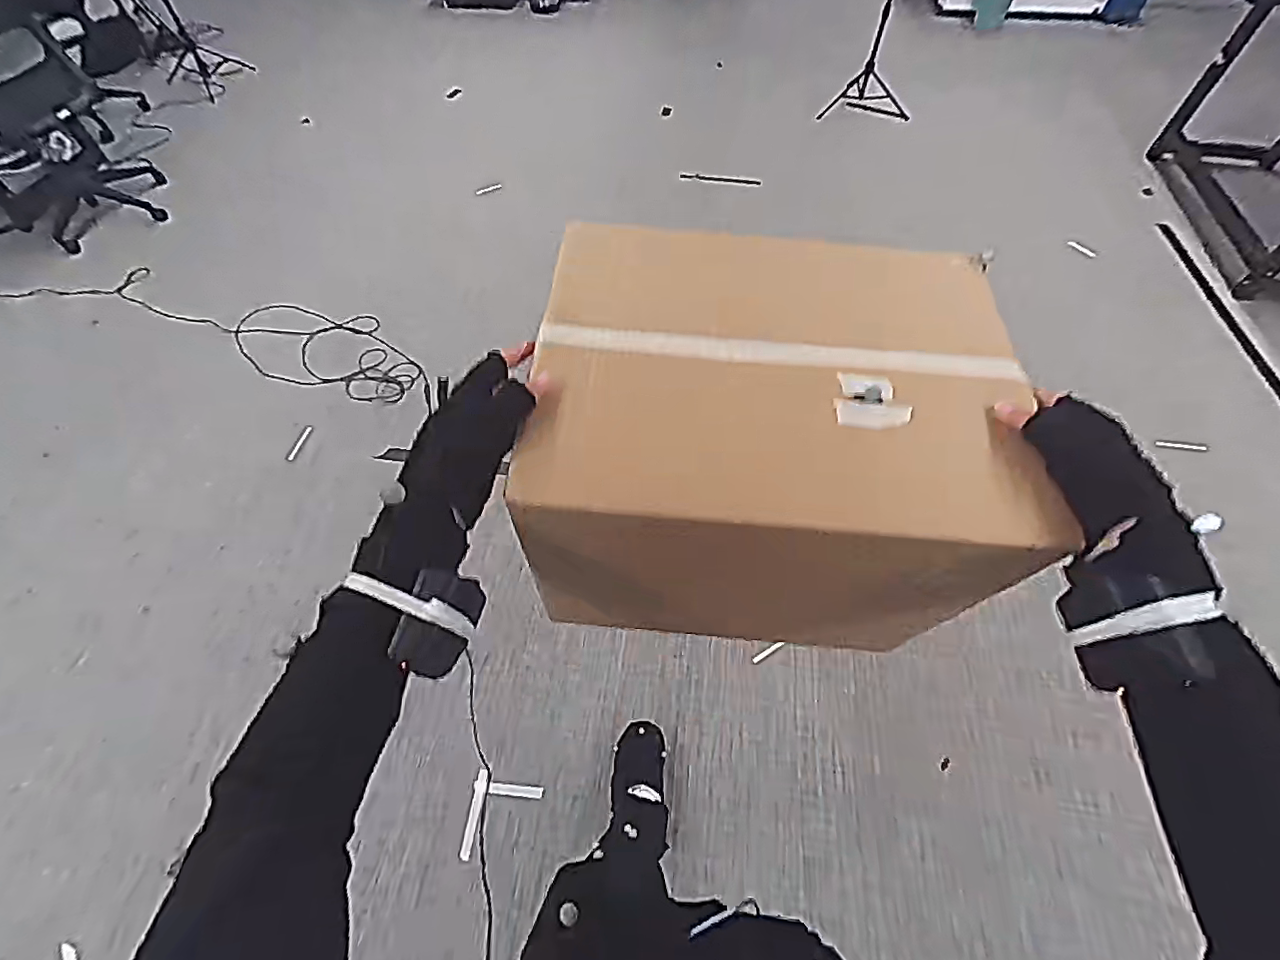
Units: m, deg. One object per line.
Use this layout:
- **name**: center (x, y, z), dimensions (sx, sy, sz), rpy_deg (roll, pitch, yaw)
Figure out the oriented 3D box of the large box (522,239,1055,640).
- **large box**: center (0.110, -0.025, 0.597), dimensions (0.408, 0.320, 0.320), rpy_deg (5, 60, 0)
